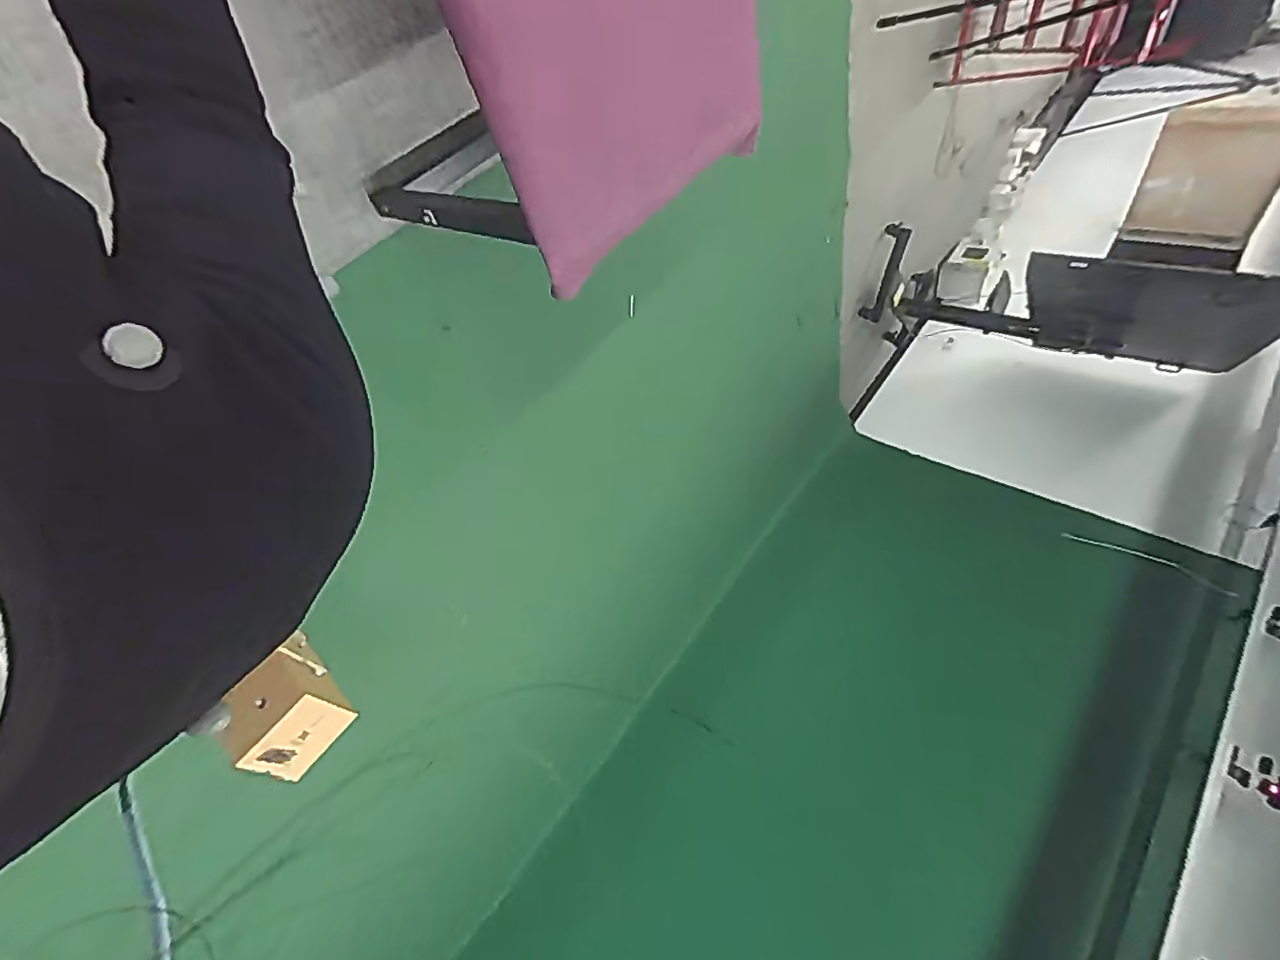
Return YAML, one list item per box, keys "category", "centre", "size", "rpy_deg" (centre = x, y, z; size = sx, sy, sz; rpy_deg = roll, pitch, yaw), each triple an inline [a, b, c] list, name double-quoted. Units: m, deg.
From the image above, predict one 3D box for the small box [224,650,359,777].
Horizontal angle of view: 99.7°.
- category: "small box"
  centre: [-0.782, 0.518, 1.207]
  size: [0.179, 0.176, 0.168]
  rpy_deg: [-49, 143, -20]

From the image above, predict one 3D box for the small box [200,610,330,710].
- category: "small box"
  centre: [-0.900, 0.446, 1.297]
  size: [0.179, 0.176, 0.168]
  rpy_deg: [-47, 142, -20]
